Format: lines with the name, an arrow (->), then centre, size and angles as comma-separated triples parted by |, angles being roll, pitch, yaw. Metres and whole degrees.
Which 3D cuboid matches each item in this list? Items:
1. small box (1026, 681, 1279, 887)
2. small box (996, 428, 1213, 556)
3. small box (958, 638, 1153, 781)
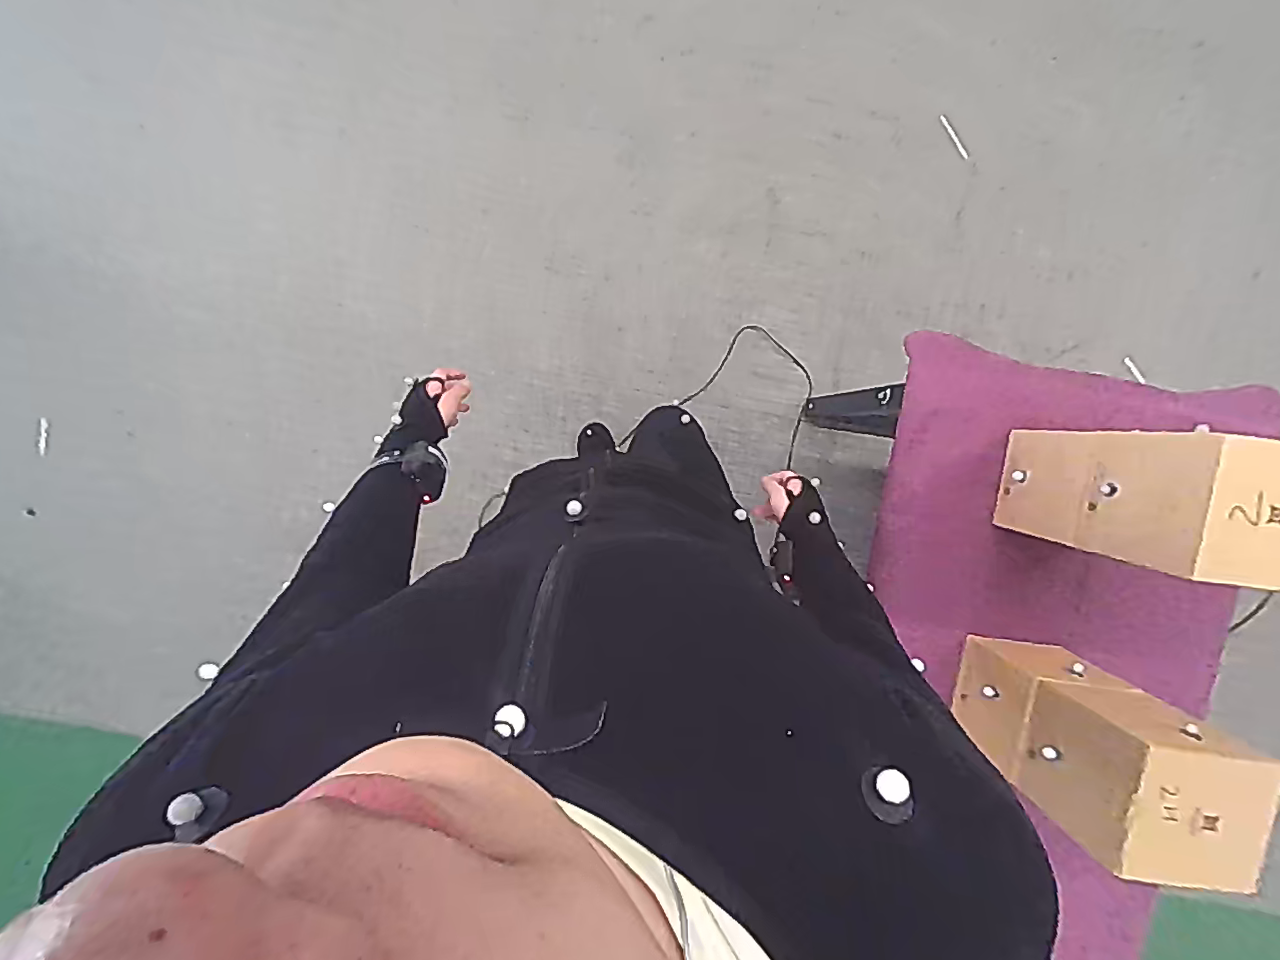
small box -> 0.661, 0.381, 0.706 | 0.179, 0.176, 0.168 | 8, 94, -3
small box -> 0.703, 0.010, 0.838 | 0.179, 0.176, 0.168 | 7, 95, -2
small box -> 0.650, 0.366, 0.870 | 0.179, 0.176, 0.168 | 7, 94, -3
